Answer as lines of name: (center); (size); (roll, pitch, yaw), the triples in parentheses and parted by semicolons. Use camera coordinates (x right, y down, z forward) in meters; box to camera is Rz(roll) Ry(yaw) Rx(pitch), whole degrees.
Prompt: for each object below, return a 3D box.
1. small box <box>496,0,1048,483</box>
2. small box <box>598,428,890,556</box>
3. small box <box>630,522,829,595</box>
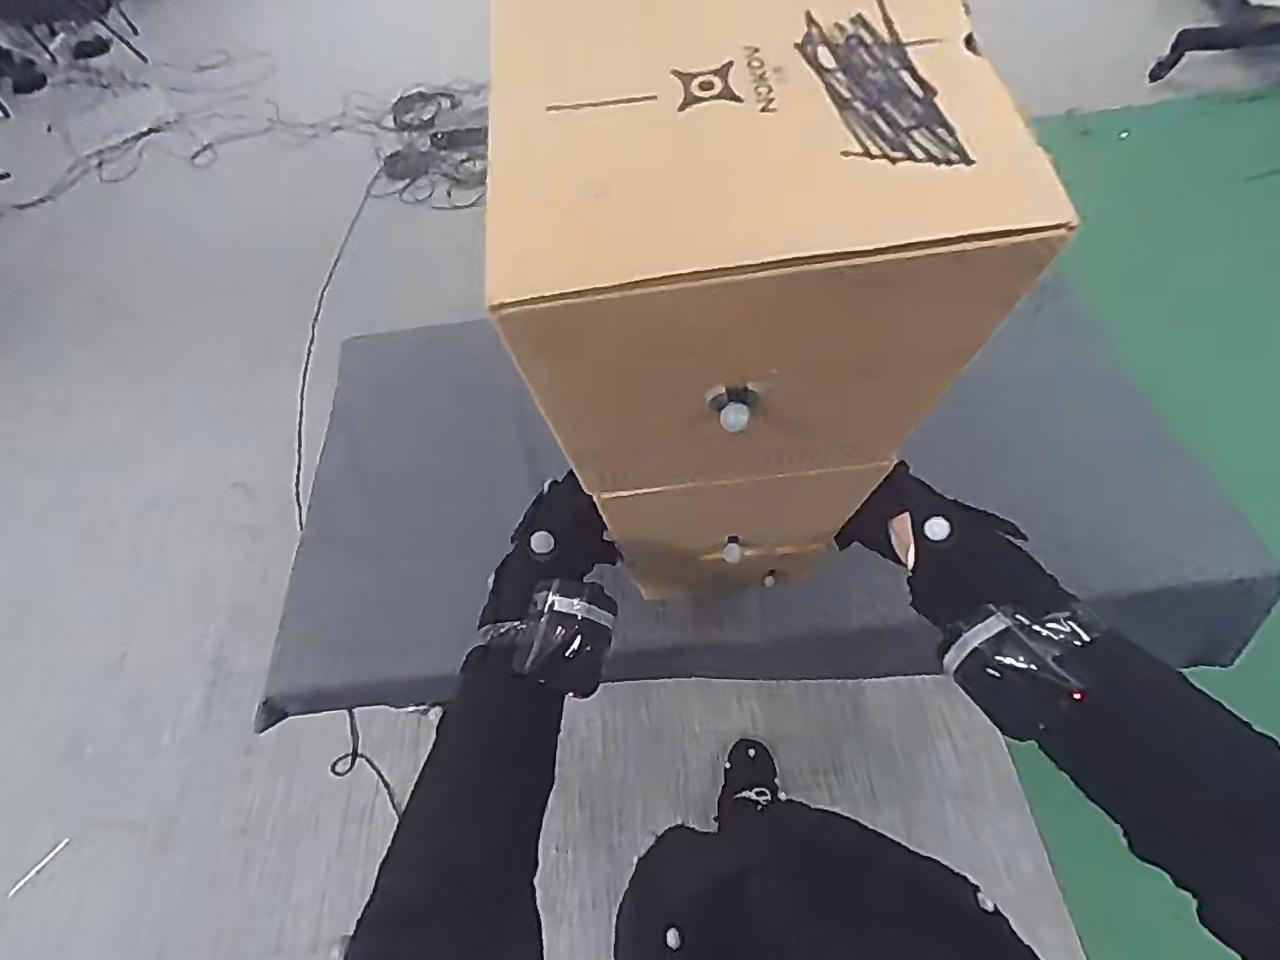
small box: (0.041, -0.109, 0.272); (0.179, 0.176, 0.168); (-7, 67, 4)
small box: (0.061, -0.047, 0.422); (0.179, 0.176, 0.168); (-7, 66, 3)
small box: (0.080, 0.019, 0.572); (0.179, 0.176, 0.168); (-8, 67, 5)
